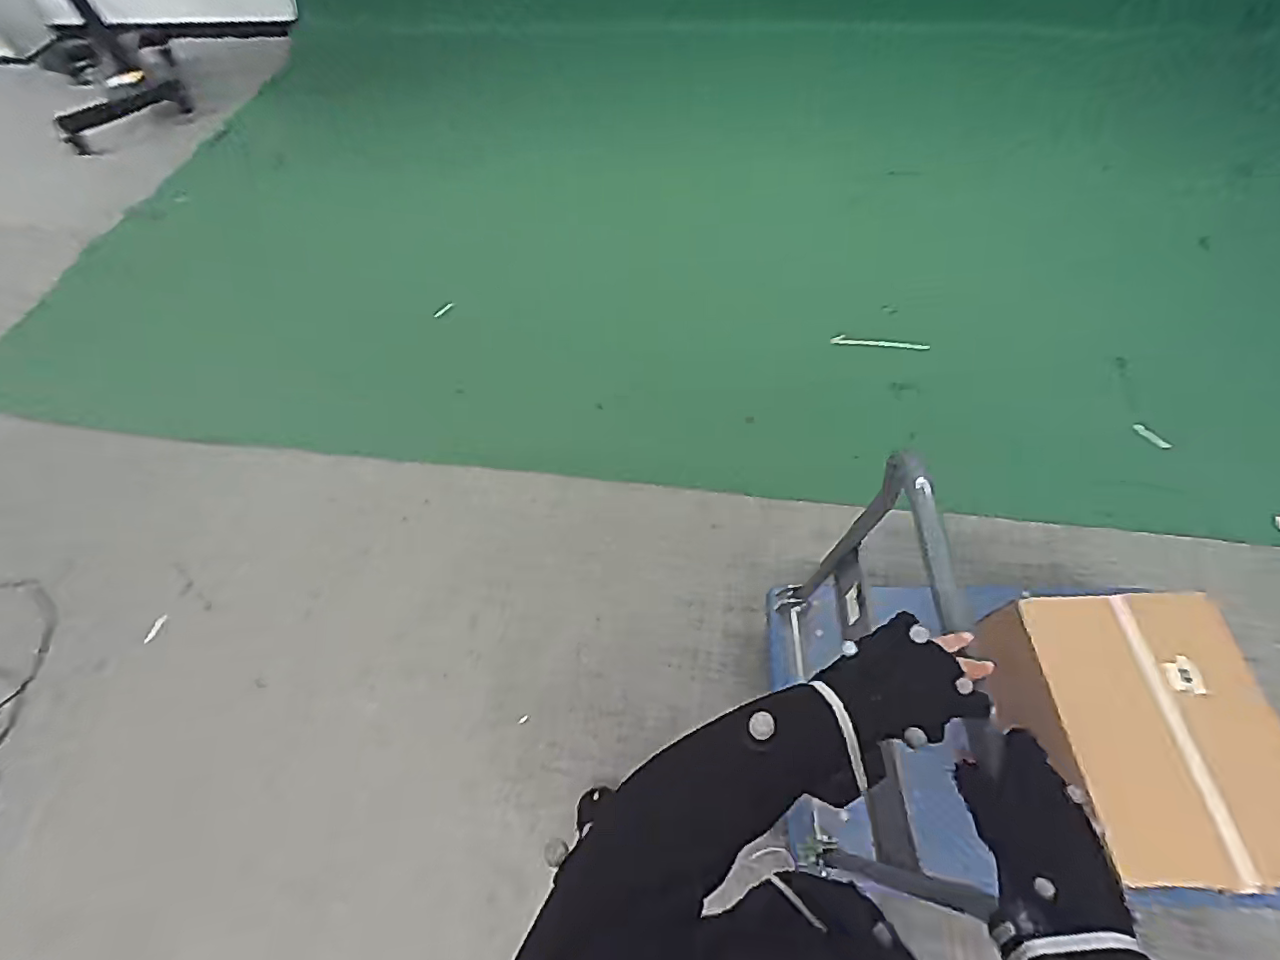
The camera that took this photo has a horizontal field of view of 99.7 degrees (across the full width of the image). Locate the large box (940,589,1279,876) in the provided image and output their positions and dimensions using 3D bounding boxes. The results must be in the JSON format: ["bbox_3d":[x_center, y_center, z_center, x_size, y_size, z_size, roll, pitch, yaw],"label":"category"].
[{"bbox_3d":[0.804,0.445,0.963,0.320,0.320,0.408,-2,57,2],"label":"large box"}]
